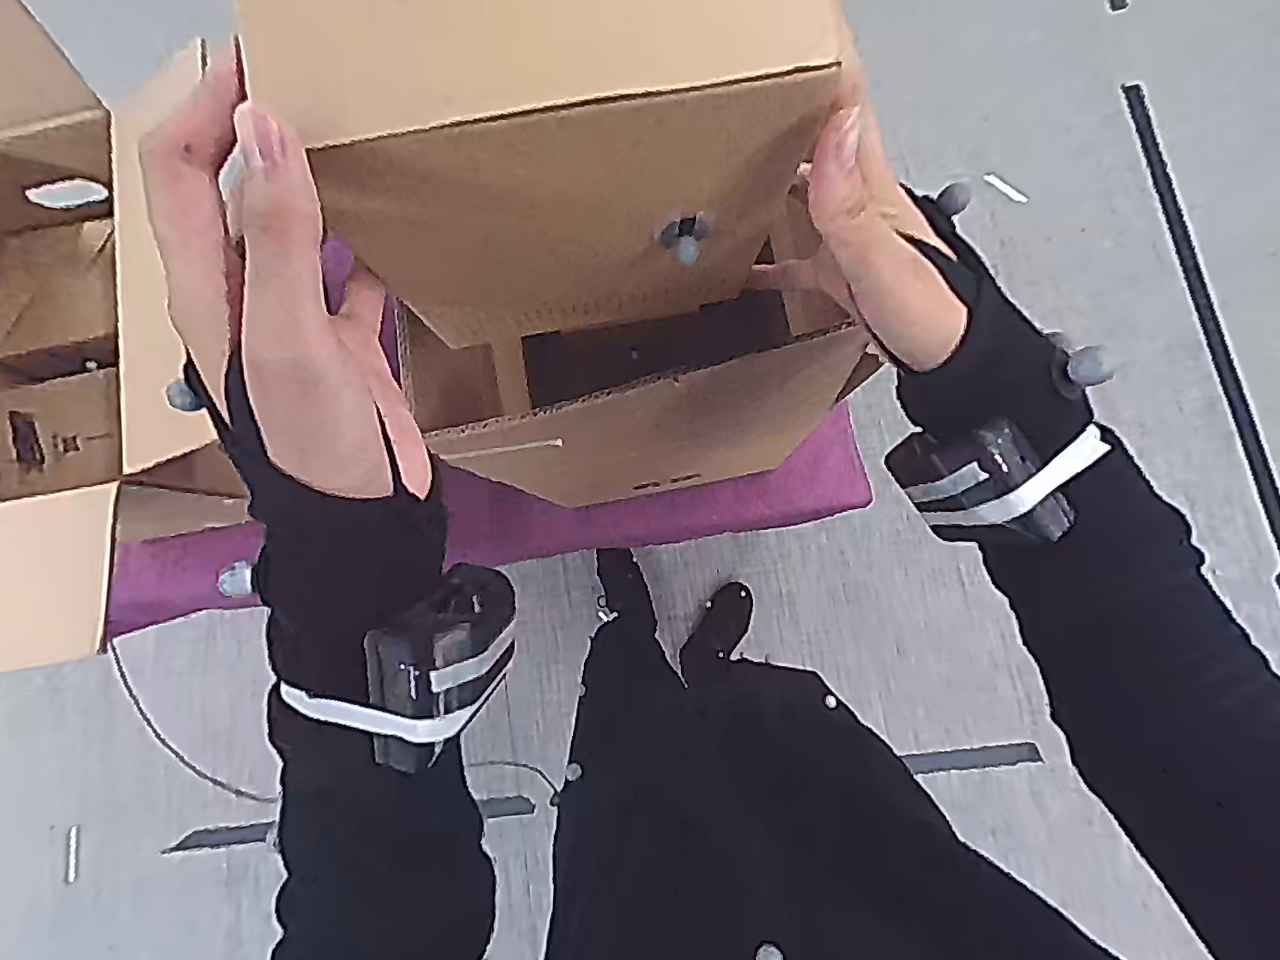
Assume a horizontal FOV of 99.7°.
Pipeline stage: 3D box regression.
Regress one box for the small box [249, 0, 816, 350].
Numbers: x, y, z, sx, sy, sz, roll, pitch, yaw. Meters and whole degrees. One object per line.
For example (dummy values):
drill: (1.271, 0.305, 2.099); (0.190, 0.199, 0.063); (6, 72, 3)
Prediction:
small box: (-0.044, -0.177, 0.255); (0.179, 0.176, 0.168); (-11, 84, -1)
